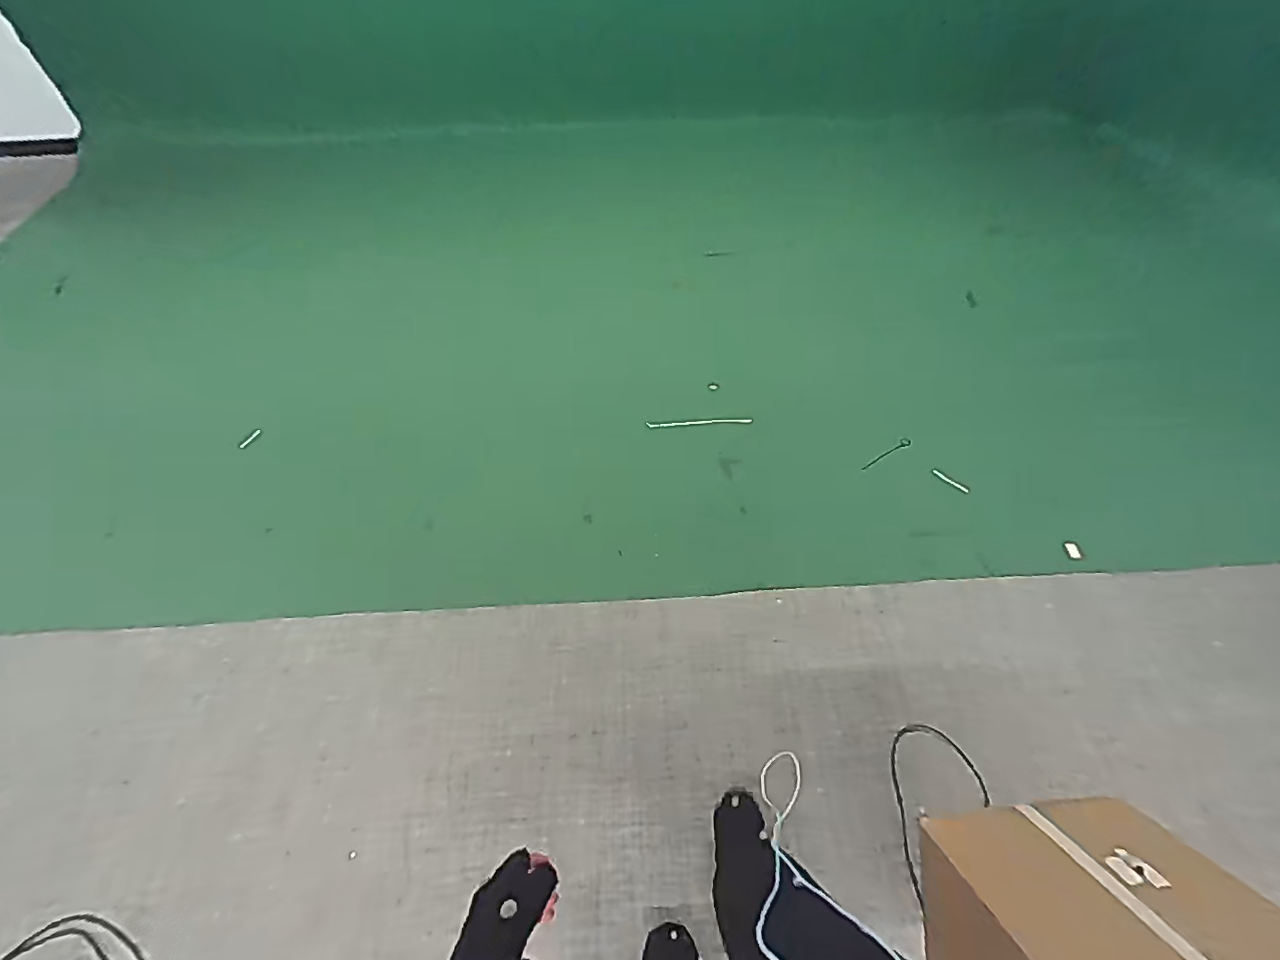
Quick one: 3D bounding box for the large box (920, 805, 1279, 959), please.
[{"bbox_3d":[0.589,0.660,0.619,0.320,0.408,0.320,-4,92,-1],"label":"large box"}]
